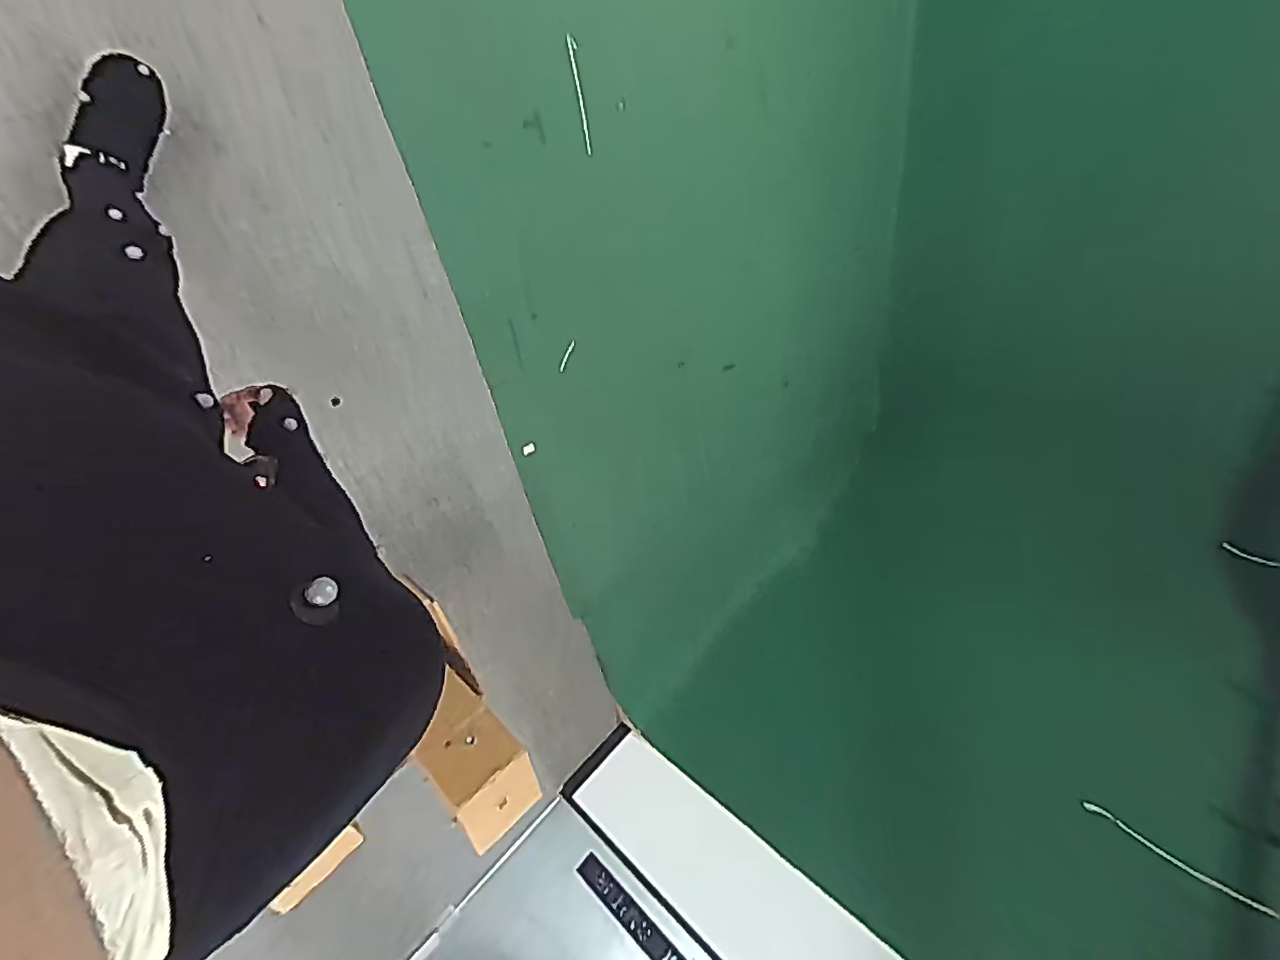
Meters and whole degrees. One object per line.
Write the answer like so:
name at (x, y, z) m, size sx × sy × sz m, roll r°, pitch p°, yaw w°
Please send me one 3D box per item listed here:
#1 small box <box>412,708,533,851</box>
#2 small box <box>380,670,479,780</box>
small box at (-0.361, 0.638, 1.170) m, size 0.168 × 0.176 × 0.179 m, roll -33°, pitch 130°, yaw -35°
small box at (-0.476, 0.587, 1.273) m, size 0.168 × 0.176 × 0.179 m, roll -34°, pitch 131°, yaw -35°
